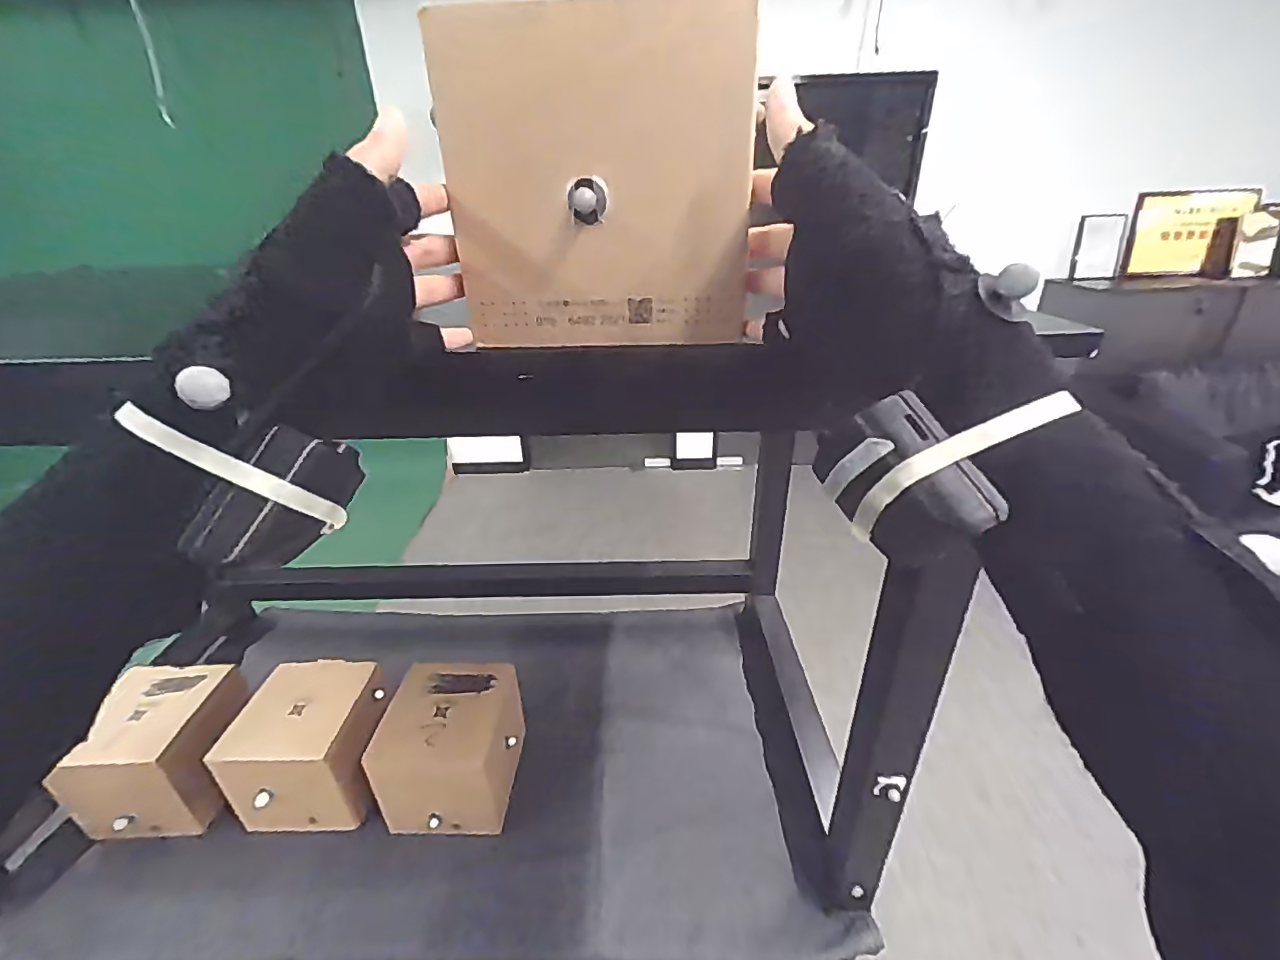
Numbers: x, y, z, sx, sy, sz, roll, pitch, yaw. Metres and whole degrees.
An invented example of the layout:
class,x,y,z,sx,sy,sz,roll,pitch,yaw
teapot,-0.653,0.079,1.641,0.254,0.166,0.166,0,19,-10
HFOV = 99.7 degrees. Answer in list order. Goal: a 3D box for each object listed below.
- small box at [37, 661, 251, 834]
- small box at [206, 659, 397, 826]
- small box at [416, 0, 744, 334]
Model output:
class,x,y,z,sx,sy,sz,roll,pitch,yaw
small box,-0.725,0.404,0.830,0.168,0.176,0.179,-2,28,-1
small box,-0.498,0.401,0.832,0.168,0.176,0.179,0,27,1
small box,-0.022,-0.198,0.368,0.168,0.176,0.179,0,27,3
